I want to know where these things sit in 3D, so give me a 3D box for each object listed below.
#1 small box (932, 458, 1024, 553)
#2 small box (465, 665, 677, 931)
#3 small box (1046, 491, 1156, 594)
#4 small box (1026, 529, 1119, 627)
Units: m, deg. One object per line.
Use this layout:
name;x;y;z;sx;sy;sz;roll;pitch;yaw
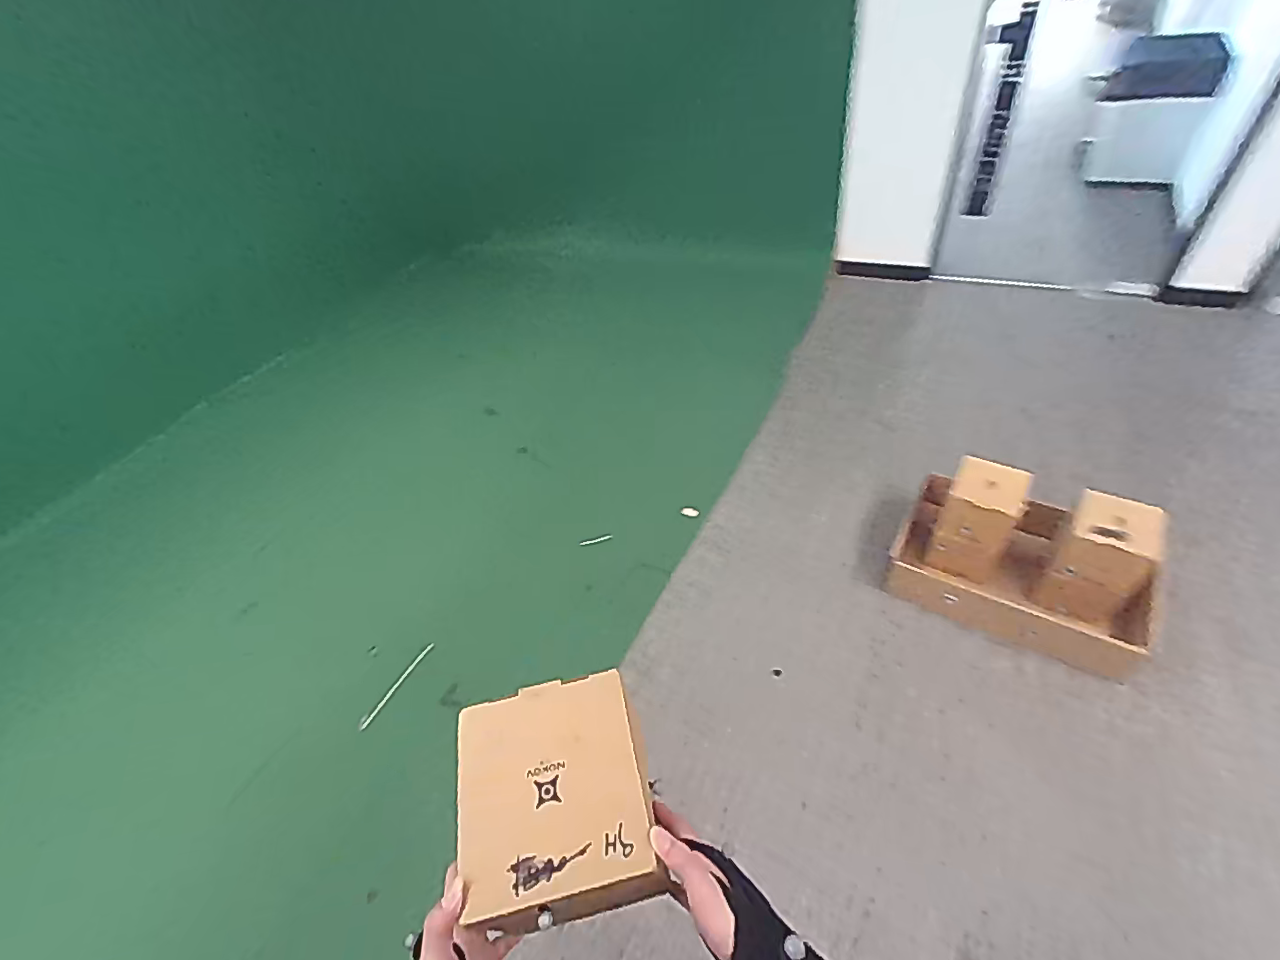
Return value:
small box;0.955;0.073;1.538;0.168;0.176;0.179;22;55;28
small box;-0.064;0.317;0.541;0.168;0.176;0.179;-13;47;-3
small box;1.186;0.164;1.400;0.168;0.176;0.179;21;54;31
small box;1.214;0.275;1.517;0.168;0.176;0.179;20;55;29
